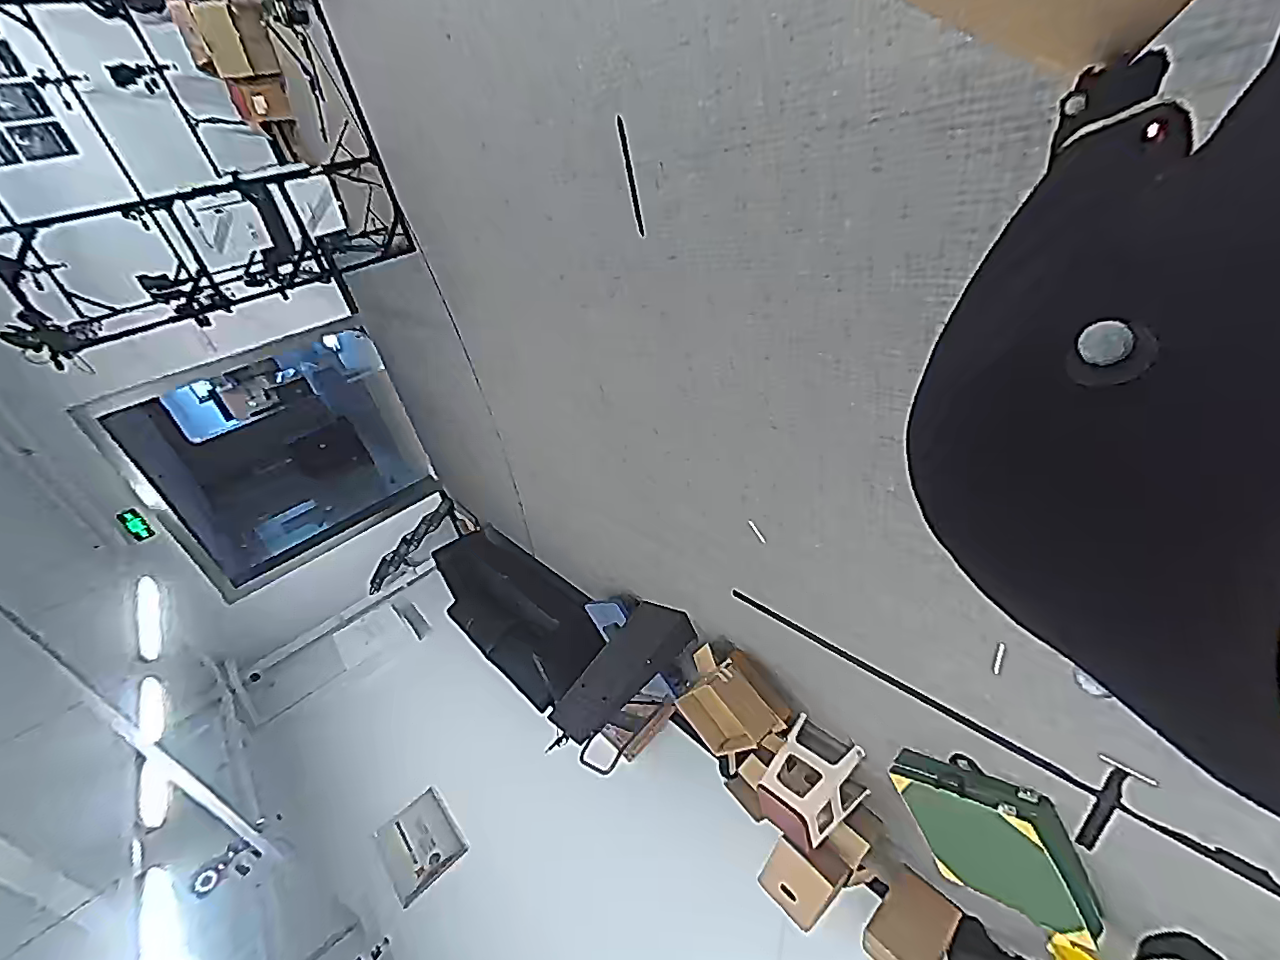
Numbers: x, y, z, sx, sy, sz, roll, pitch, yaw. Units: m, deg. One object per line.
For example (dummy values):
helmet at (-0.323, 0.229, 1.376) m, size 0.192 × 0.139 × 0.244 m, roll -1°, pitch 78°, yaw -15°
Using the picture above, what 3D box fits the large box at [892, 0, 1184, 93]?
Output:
large box at (0.391, -0.589, 0.446) m, size 0.320 × 0.408 × 0.320 m, roll 38°, pitch 127°, yaw 10°
